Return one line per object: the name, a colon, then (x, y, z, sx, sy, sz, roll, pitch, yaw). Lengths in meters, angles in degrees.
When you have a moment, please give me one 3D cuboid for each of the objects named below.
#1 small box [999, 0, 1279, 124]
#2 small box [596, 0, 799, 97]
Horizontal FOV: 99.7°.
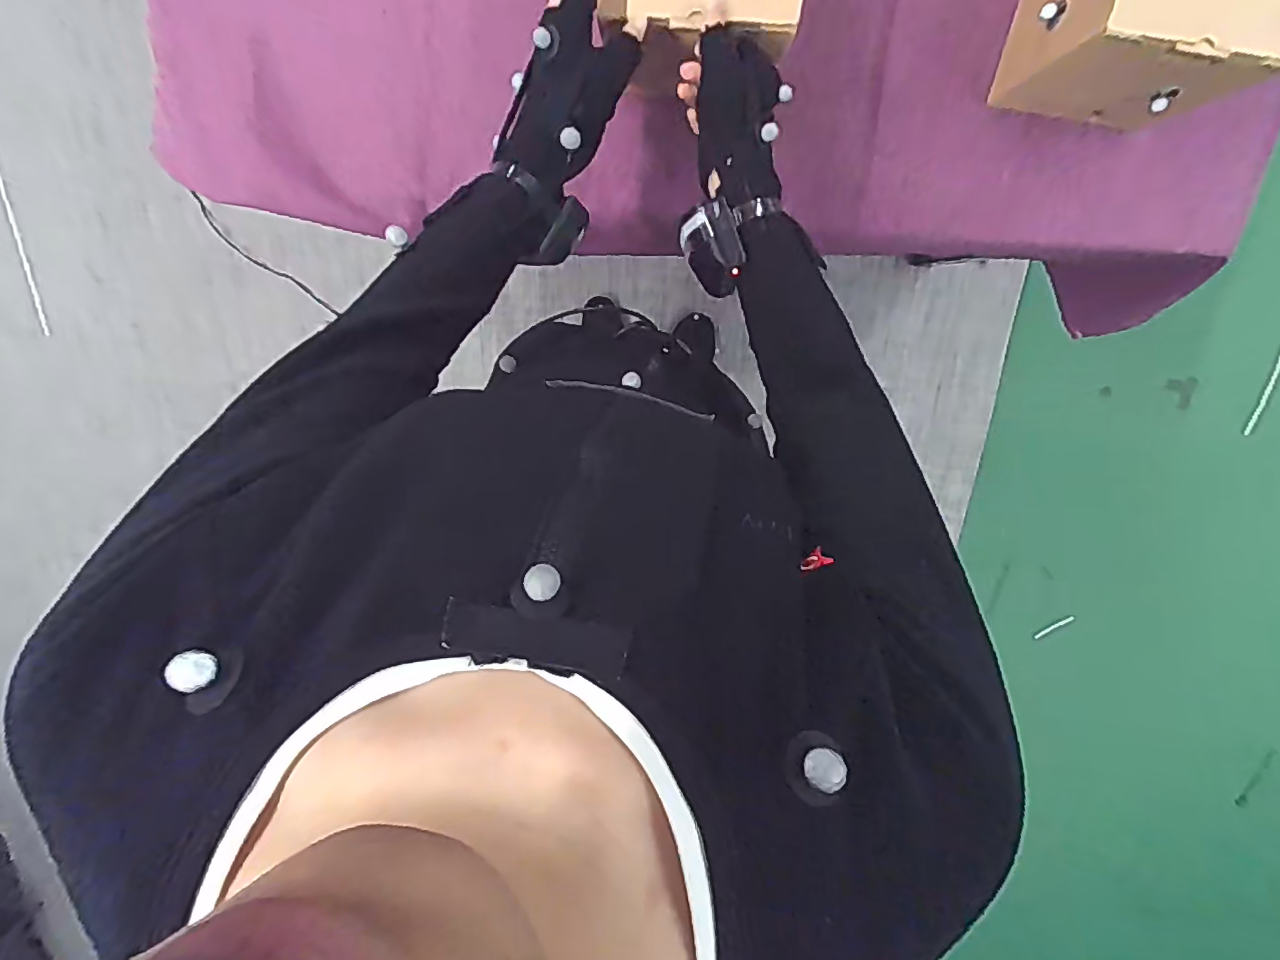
small box: (0.460, -0.443, 0.474, 0.168, 0.176, 0.179, 10, 109, -1)
small box: (0.056, -0.473, 0.486, 0.168, 0.176, 0.179, 5, 109, 1)
